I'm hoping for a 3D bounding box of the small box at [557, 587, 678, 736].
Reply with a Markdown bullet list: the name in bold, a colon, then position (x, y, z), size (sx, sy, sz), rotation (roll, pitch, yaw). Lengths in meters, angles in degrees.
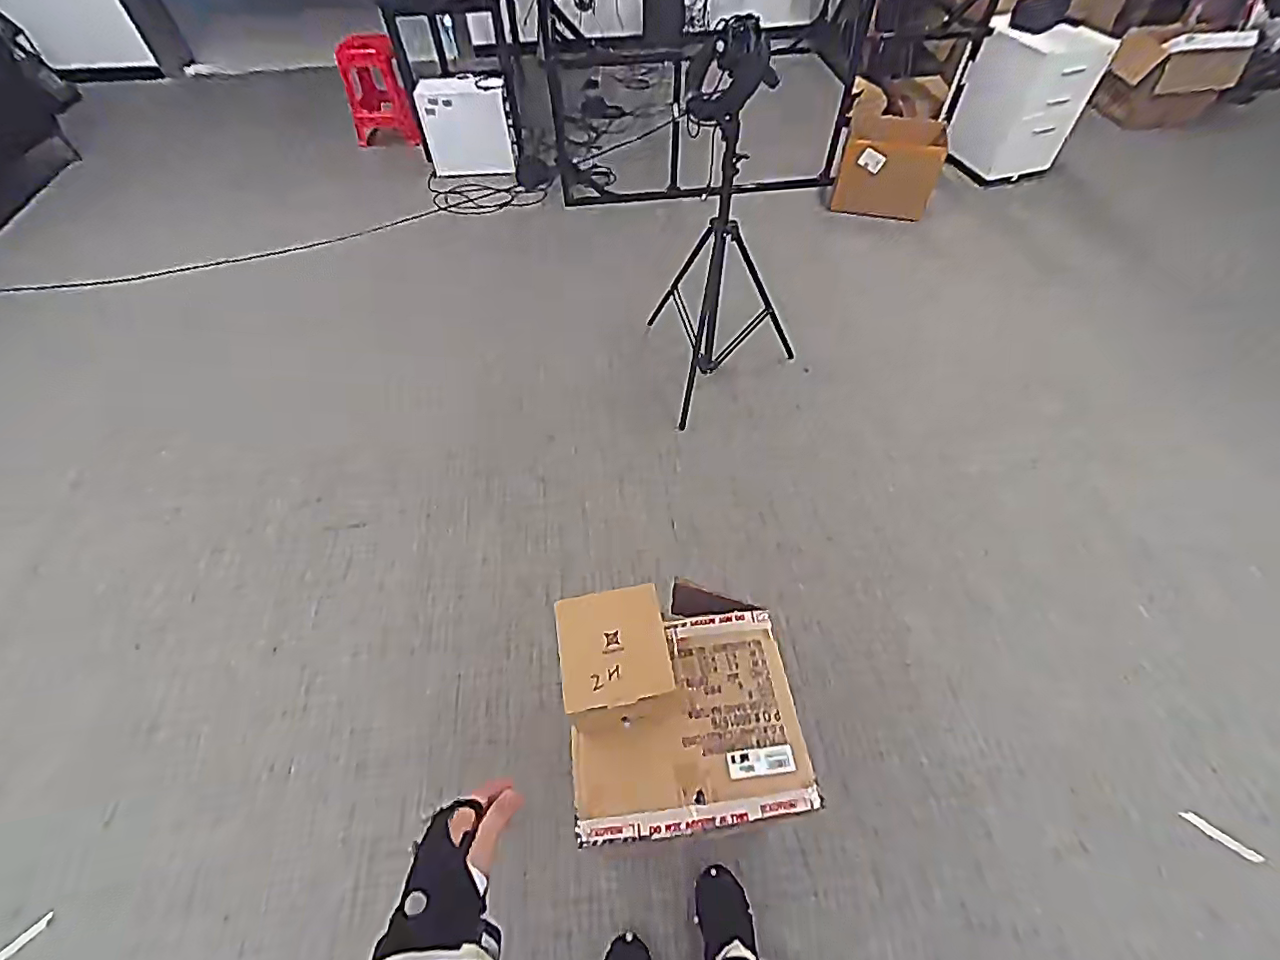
- **small box**: position (-0.036, 0.300, 0.887), size (0.168, 0.176, 0.179), rotation (-11, 57, -3)
